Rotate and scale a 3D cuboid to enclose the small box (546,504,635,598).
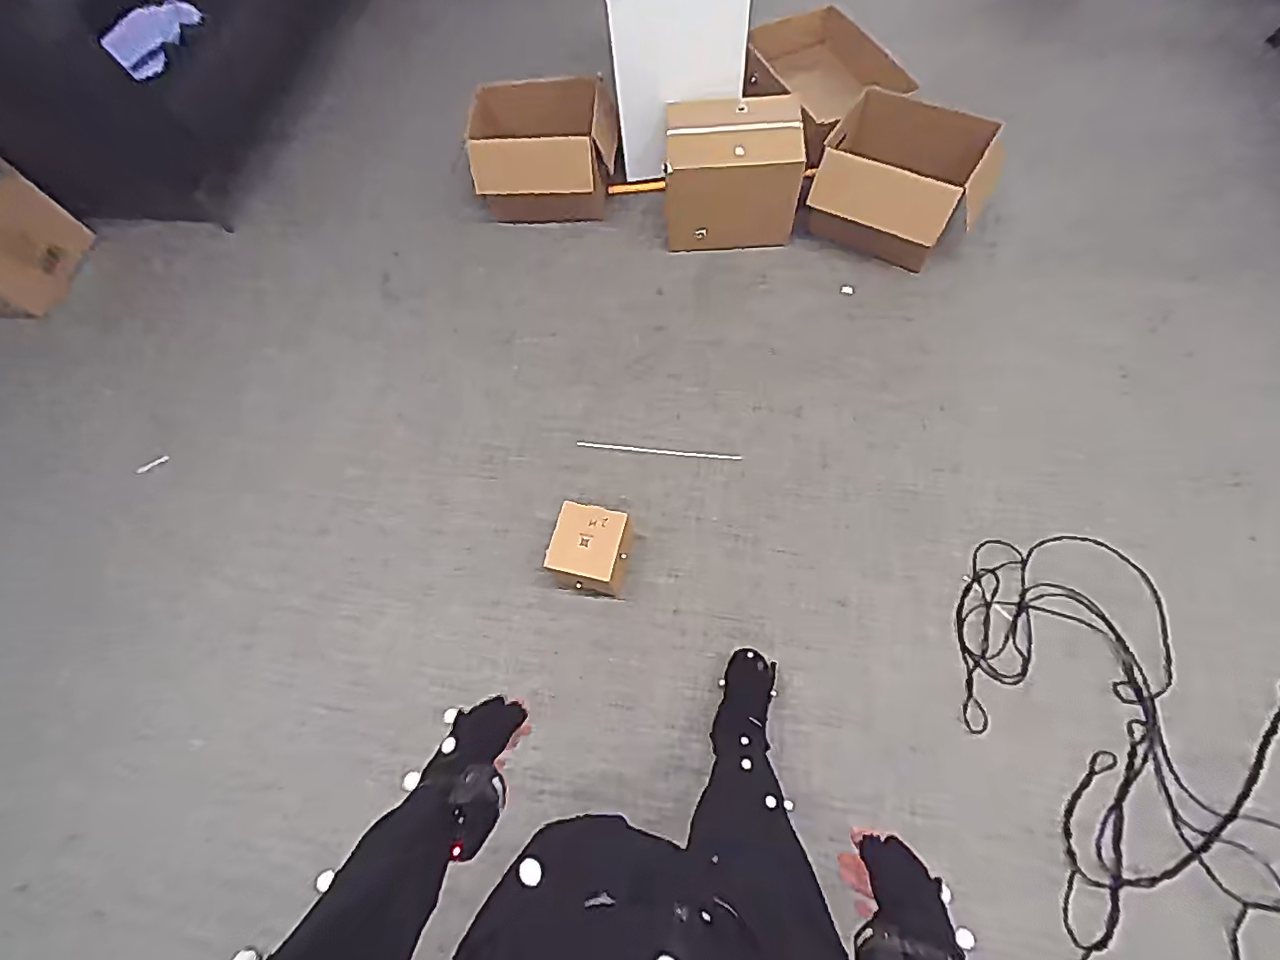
[{"bbox_3d":[-0.115,0.185,1.358,0.168,0.176,0.179,12,67,10],"label":"small box"}]
